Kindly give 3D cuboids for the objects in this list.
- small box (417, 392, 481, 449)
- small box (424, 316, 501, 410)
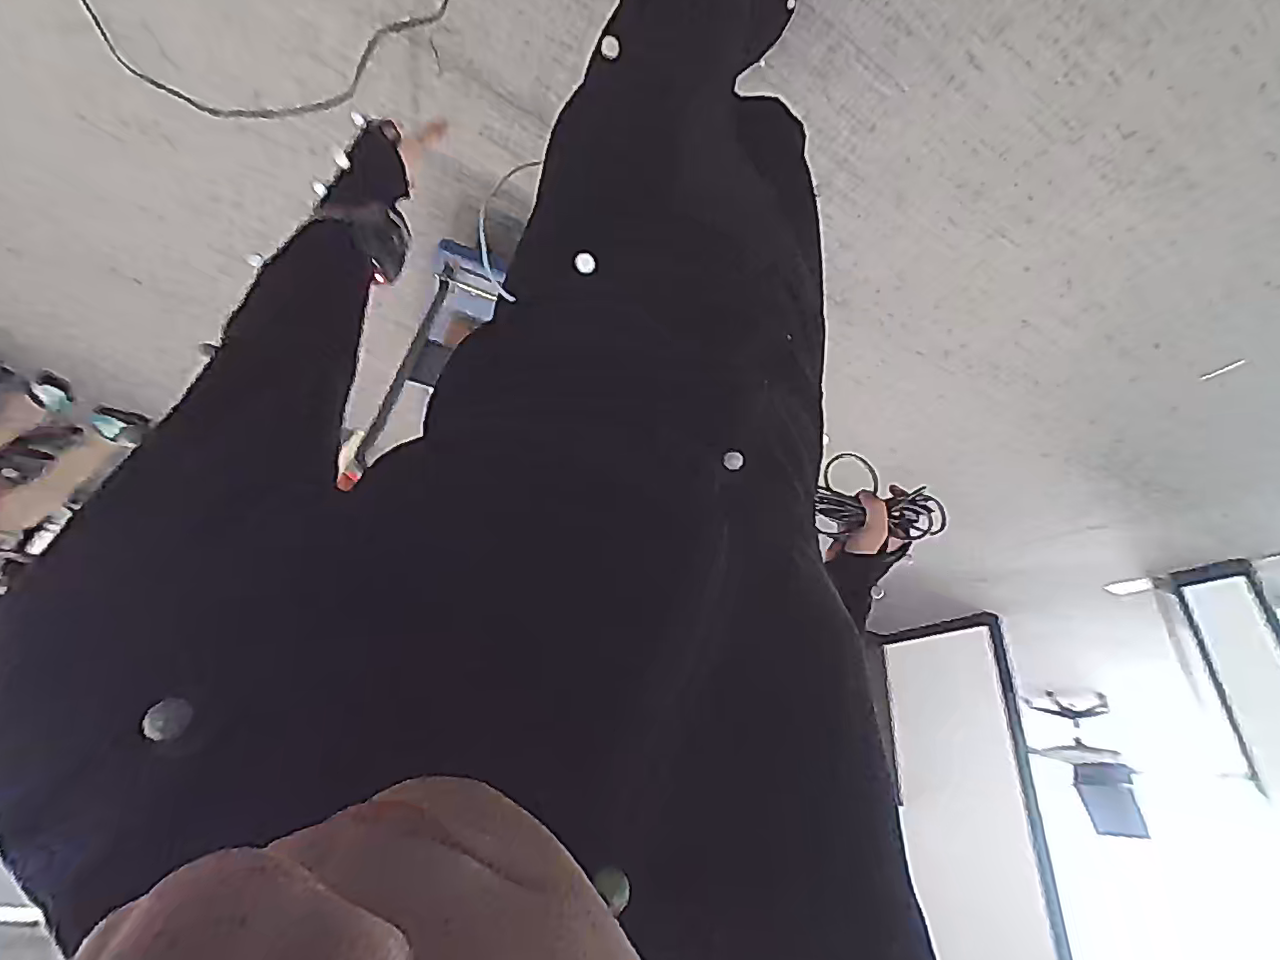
[{"bbox_3d":[-0.627,-0.236,1.791,0.168,0.176,0.179,16,147,-16],"label":"small box"},{"bbox_3d":[-0.521,-0.343,1.593,0.168,0.176,0.179,18,146,-18],"label":"small box"}]
